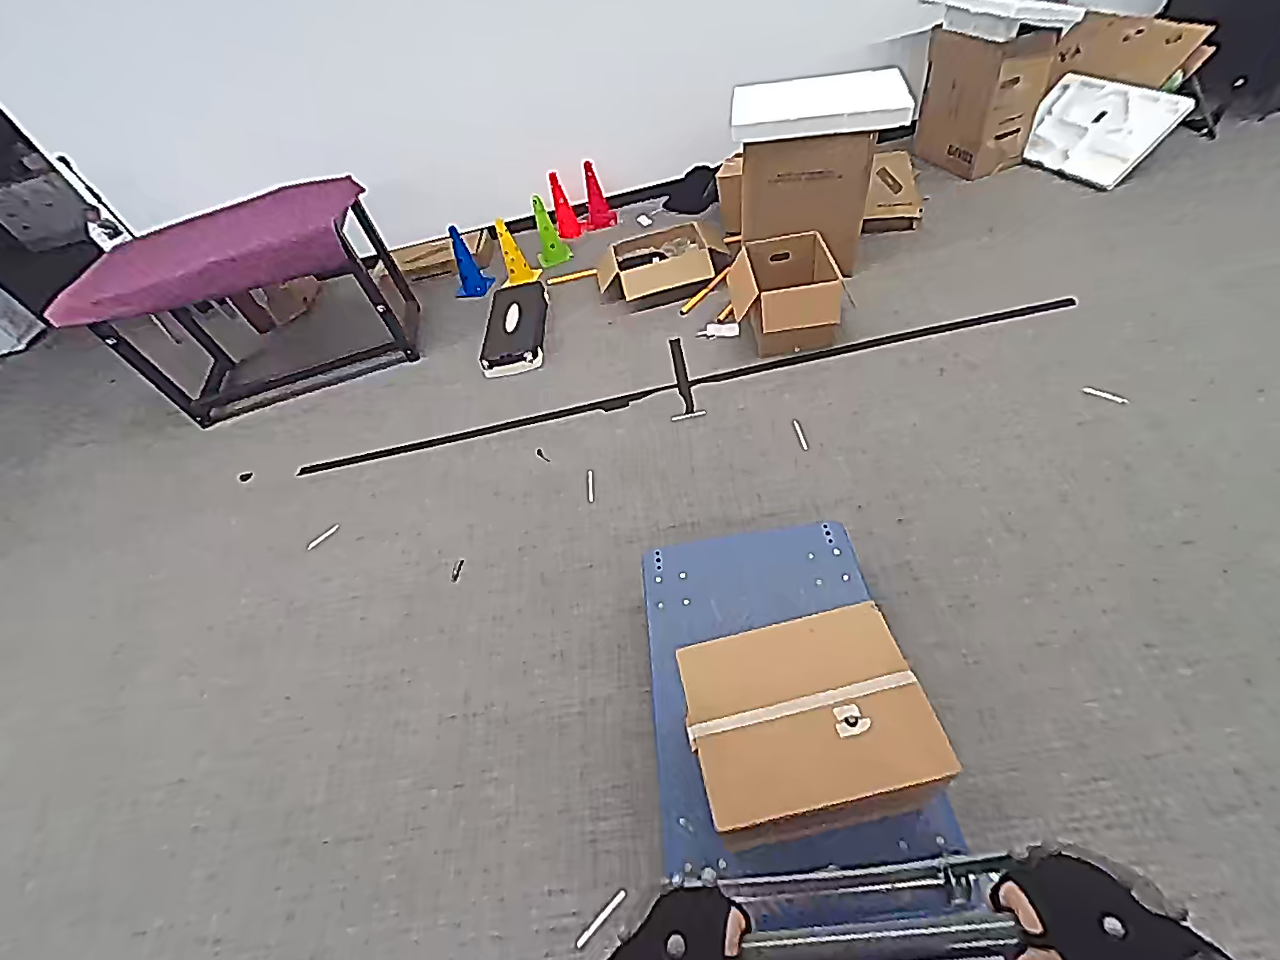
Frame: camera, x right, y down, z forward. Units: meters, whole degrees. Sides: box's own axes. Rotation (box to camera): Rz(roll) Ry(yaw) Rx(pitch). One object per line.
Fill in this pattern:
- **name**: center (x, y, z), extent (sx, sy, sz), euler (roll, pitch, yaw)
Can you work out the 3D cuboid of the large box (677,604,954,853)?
- **large box**: center (0.317, 0.502, 1.082), extent (0.408, 0.320, 0.320), euler (-14, 49, 0)
